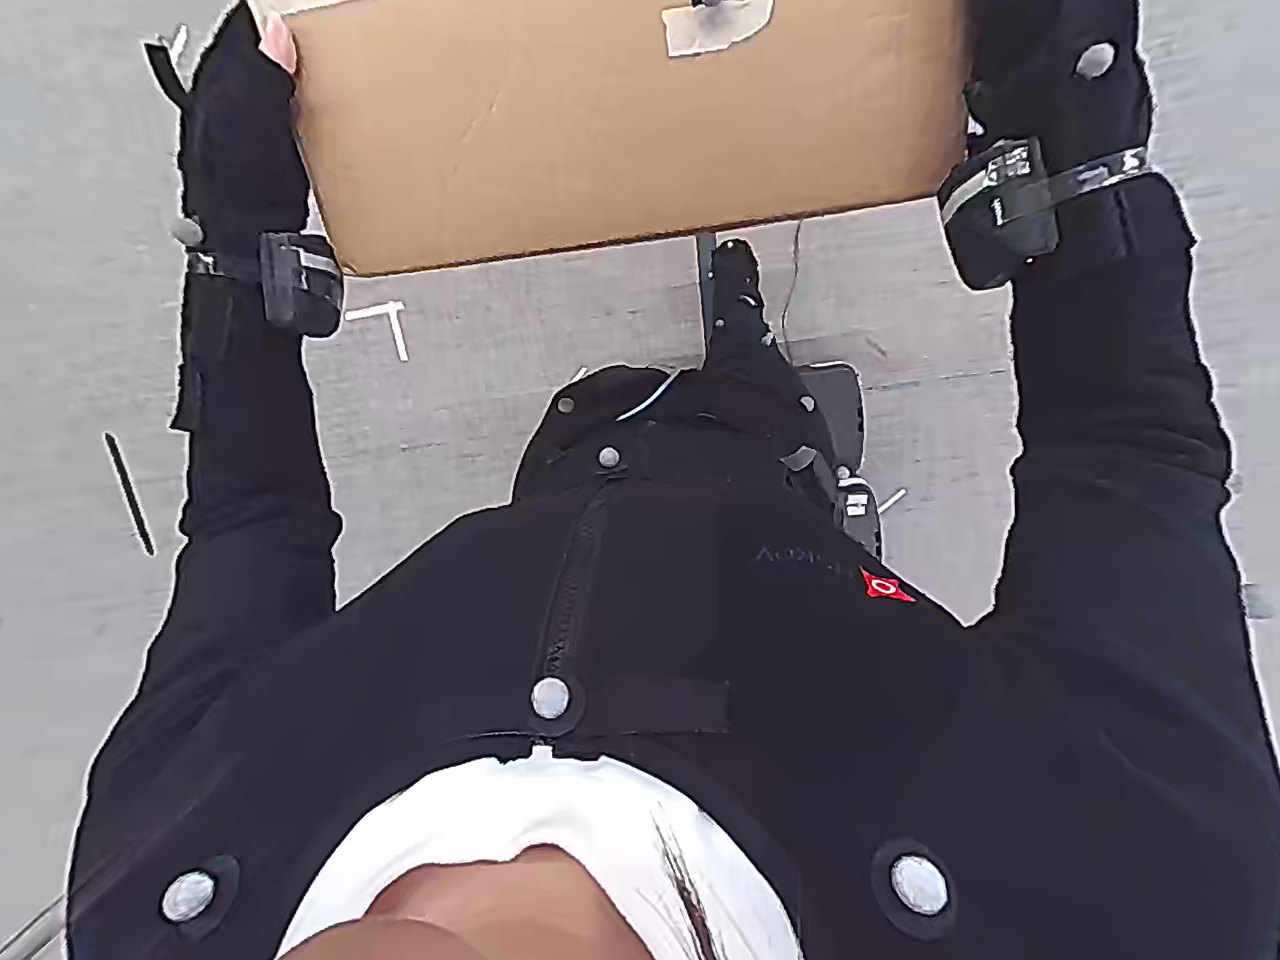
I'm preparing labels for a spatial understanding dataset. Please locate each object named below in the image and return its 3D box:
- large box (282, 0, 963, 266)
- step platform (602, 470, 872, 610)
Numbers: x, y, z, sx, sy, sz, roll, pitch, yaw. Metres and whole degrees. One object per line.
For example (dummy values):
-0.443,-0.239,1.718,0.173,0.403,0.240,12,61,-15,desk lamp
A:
-0.011,-0.373,0.436,0.408,0.320,0.320,-5,115,9,large box
0.243,0.162,1.432,0.684,0.204,0.286,-7,102,9,step platform
